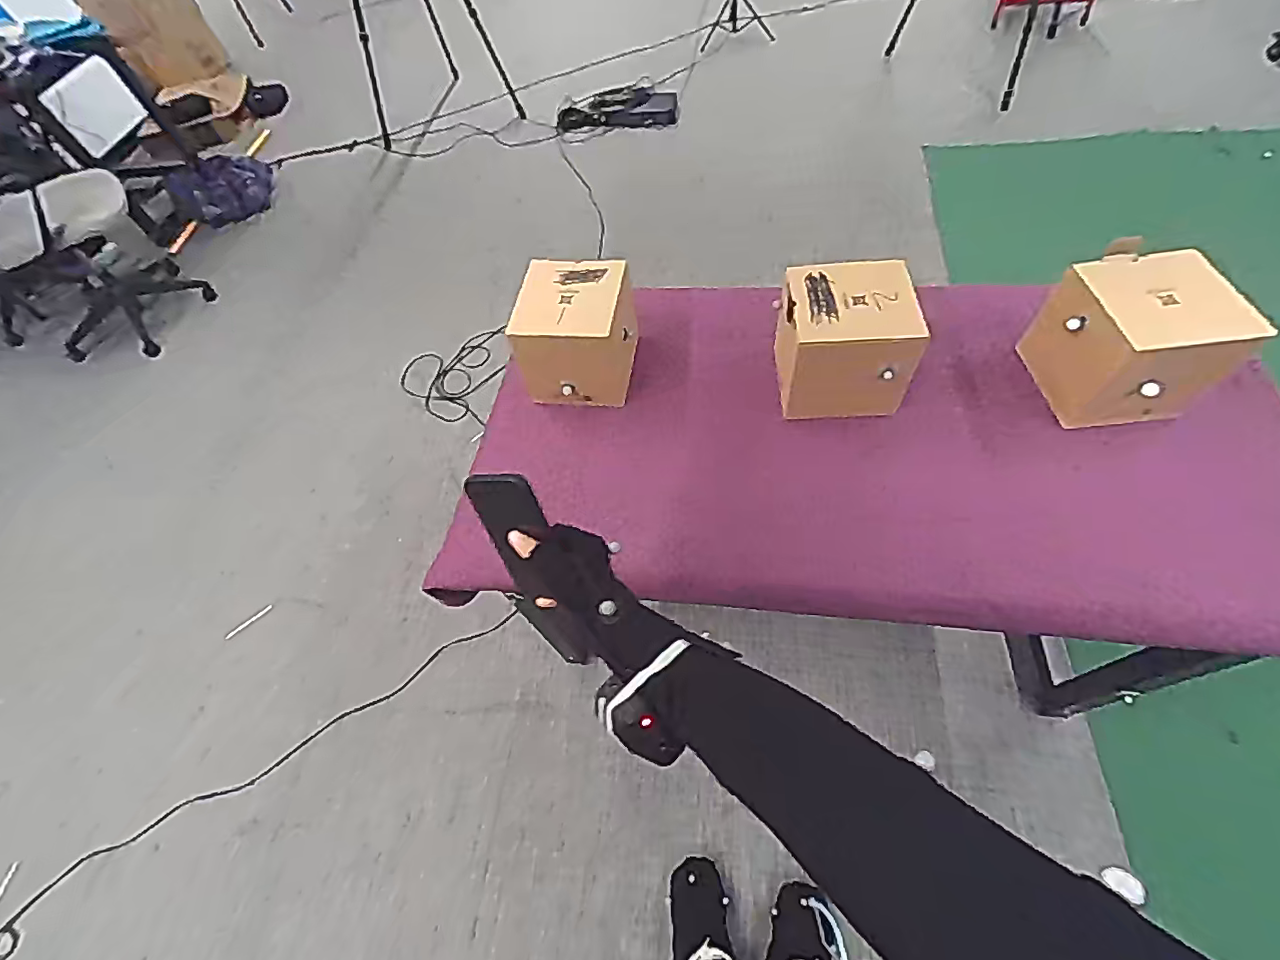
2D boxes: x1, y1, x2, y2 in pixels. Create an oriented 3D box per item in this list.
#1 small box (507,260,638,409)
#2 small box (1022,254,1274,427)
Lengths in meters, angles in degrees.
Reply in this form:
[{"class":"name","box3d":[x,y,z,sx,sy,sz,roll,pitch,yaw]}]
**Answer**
[{"class":"small box","box3d":[-0.101,-0.244,0.914,0.168,0.176,0.179,4,60,10]},{"class":"small box","box3d":[0.700,-0.189,0.776,0.168,0.176,0.179,-6,57,5]}]
